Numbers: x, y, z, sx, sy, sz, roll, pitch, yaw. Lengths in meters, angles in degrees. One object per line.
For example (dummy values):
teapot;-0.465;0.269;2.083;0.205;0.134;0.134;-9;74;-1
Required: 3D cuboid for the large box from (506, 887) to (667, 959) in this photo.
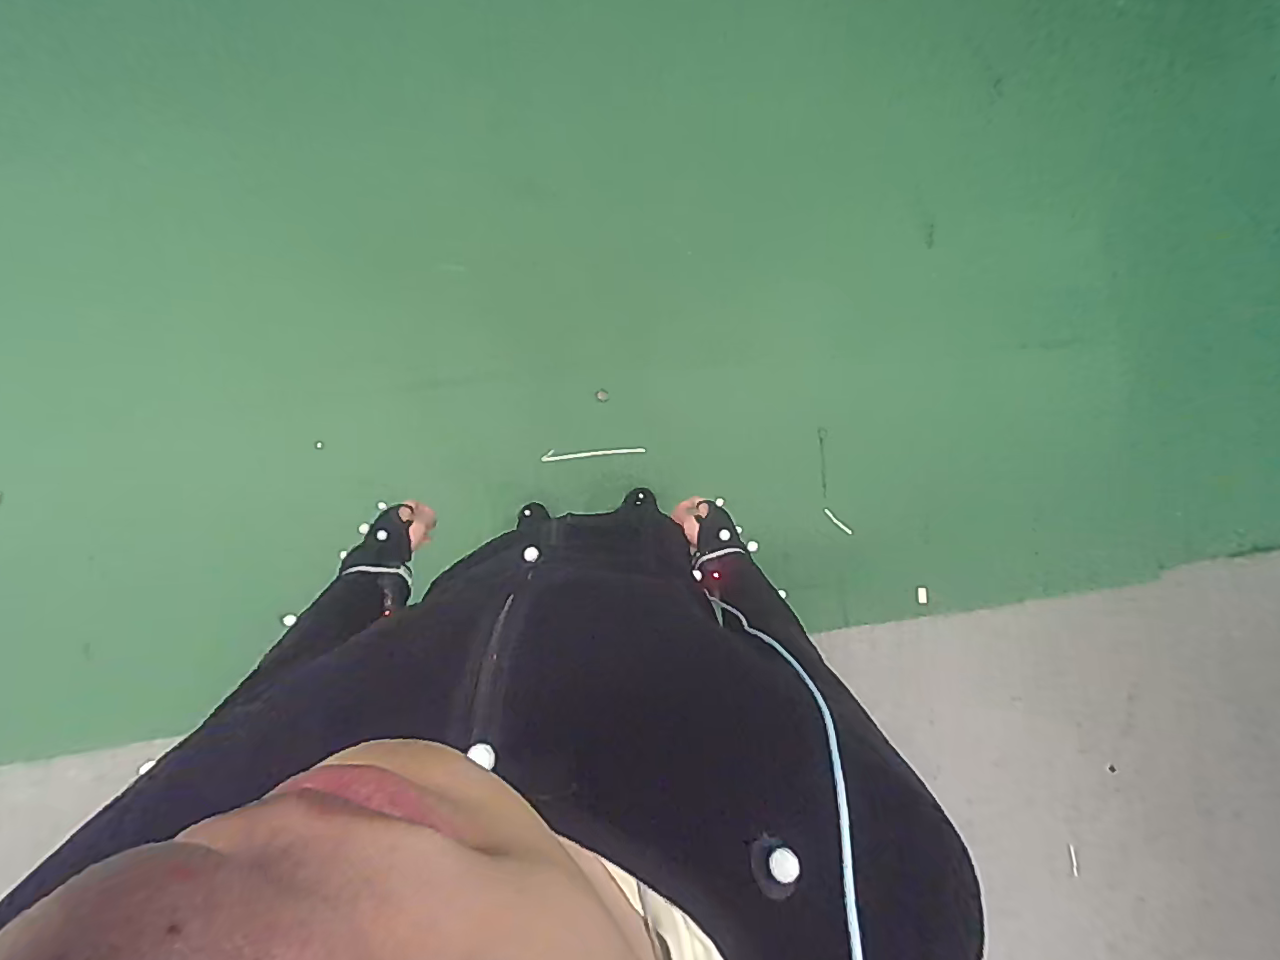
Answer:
large box;-0.163;1.358;1.440;0.408;0.320;0.320;13;86;-7
